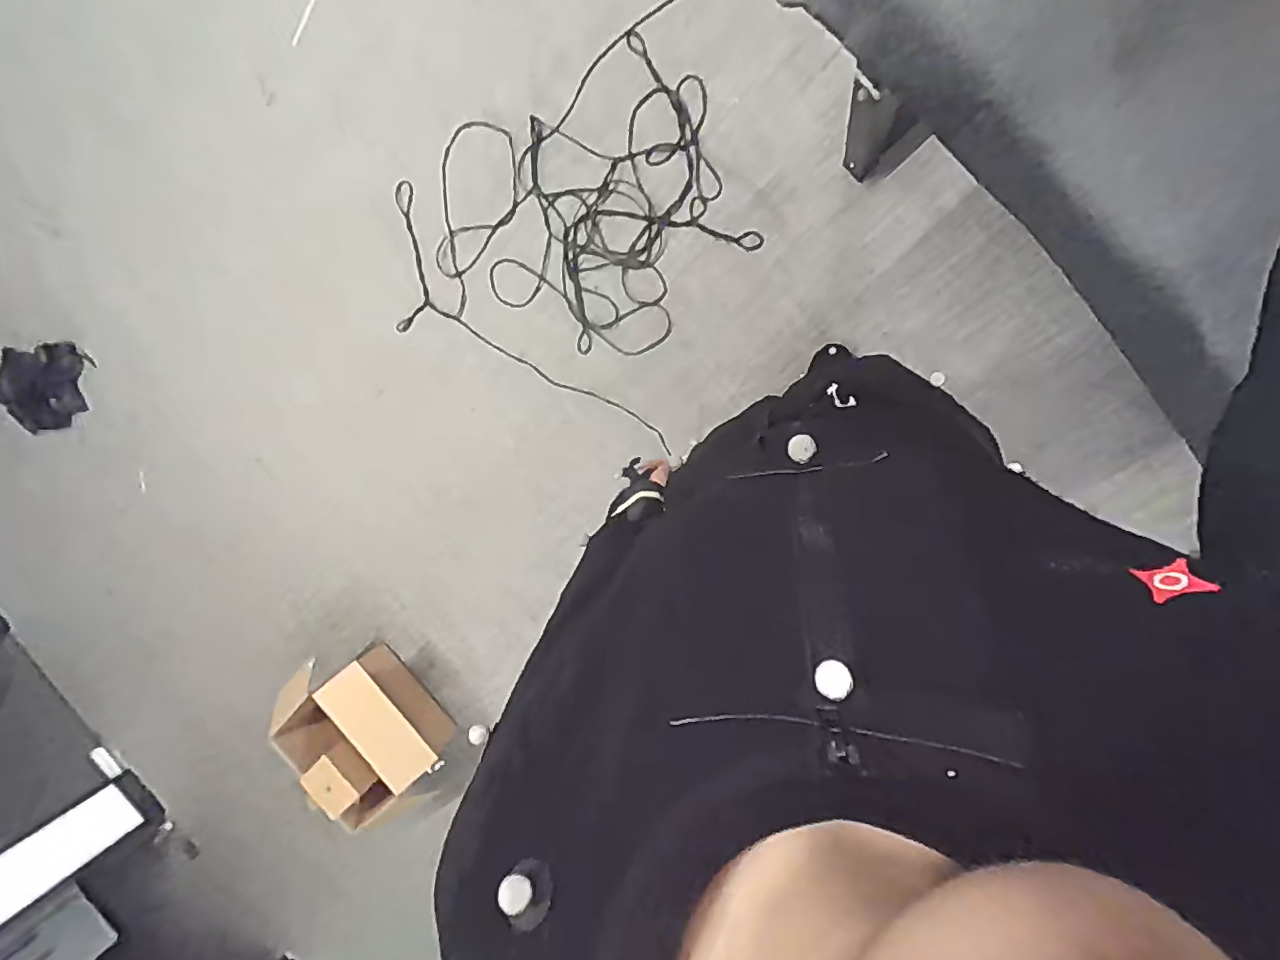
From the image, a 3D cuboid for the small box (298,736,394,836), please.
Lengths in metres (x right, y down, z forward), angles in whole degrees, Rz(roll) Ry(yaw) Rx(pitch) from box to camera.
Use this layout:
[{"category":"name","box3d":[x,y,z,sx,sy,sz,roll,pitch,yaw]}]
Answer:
[{"category":"small box","box3d":[-0.909,0.946,1.684,0.168,0.176,0.179,46,110,4]}]
